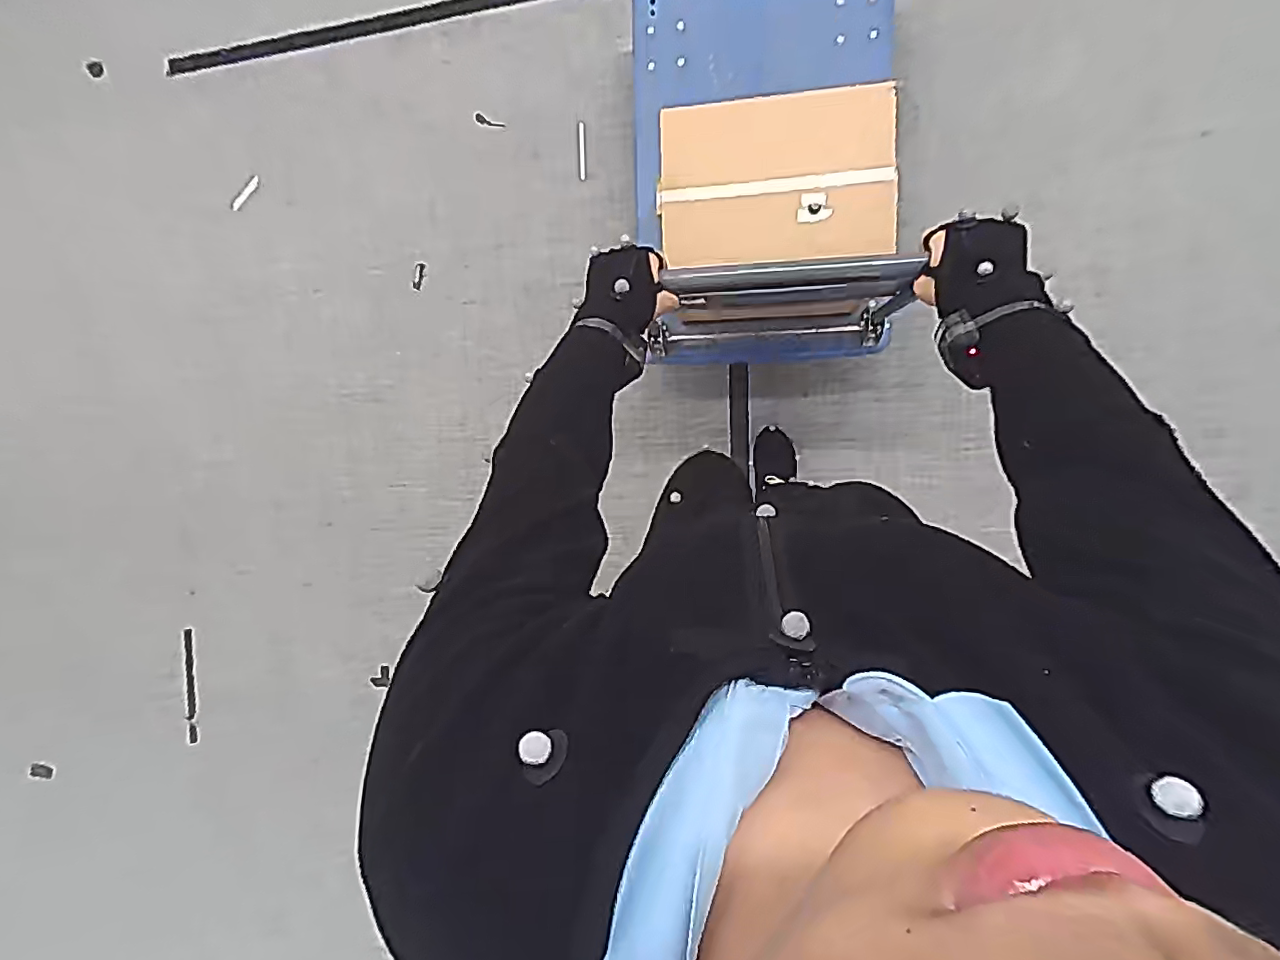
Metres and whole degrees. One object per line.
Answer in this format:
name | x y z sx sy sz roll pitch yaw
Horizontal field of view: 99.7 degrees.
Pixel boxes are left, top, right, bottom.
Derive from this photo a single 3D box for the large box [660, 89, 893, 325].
large box | 0.257 -0.517 1.102 0.408 0.320 0.320 -1 94 9
